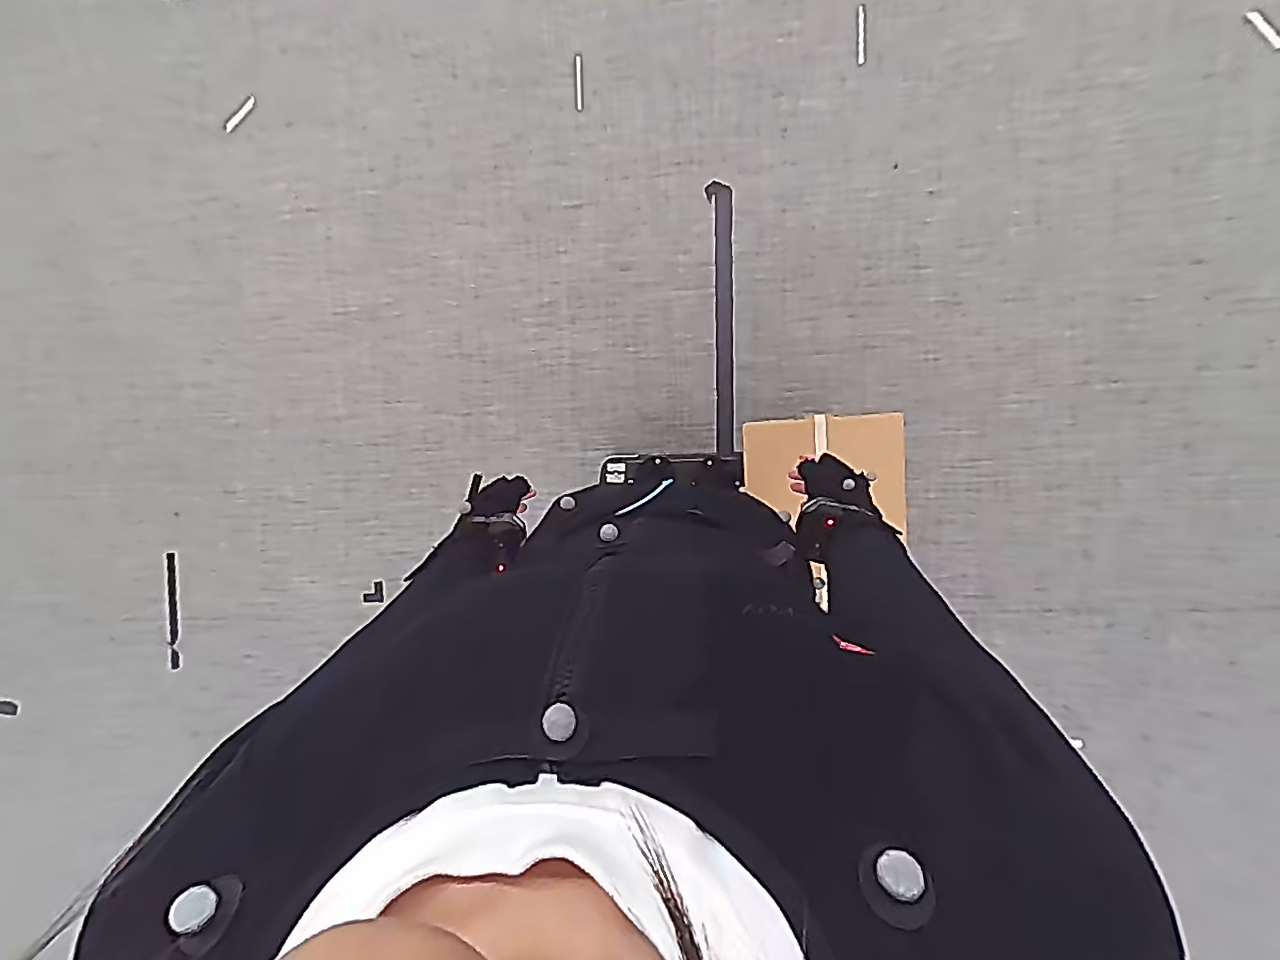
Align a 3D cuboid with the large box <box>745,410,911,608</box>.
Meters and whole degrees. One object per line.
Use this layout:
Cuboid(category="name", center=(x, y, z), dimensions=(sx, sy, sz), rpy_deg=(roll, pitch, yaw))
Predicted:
Cuboid(category="large box", center=(0.414, 0.054, 1.253), dimensions=(0.320, 0.320, 0.408), rpy_deg=(-2, 94, 13))
